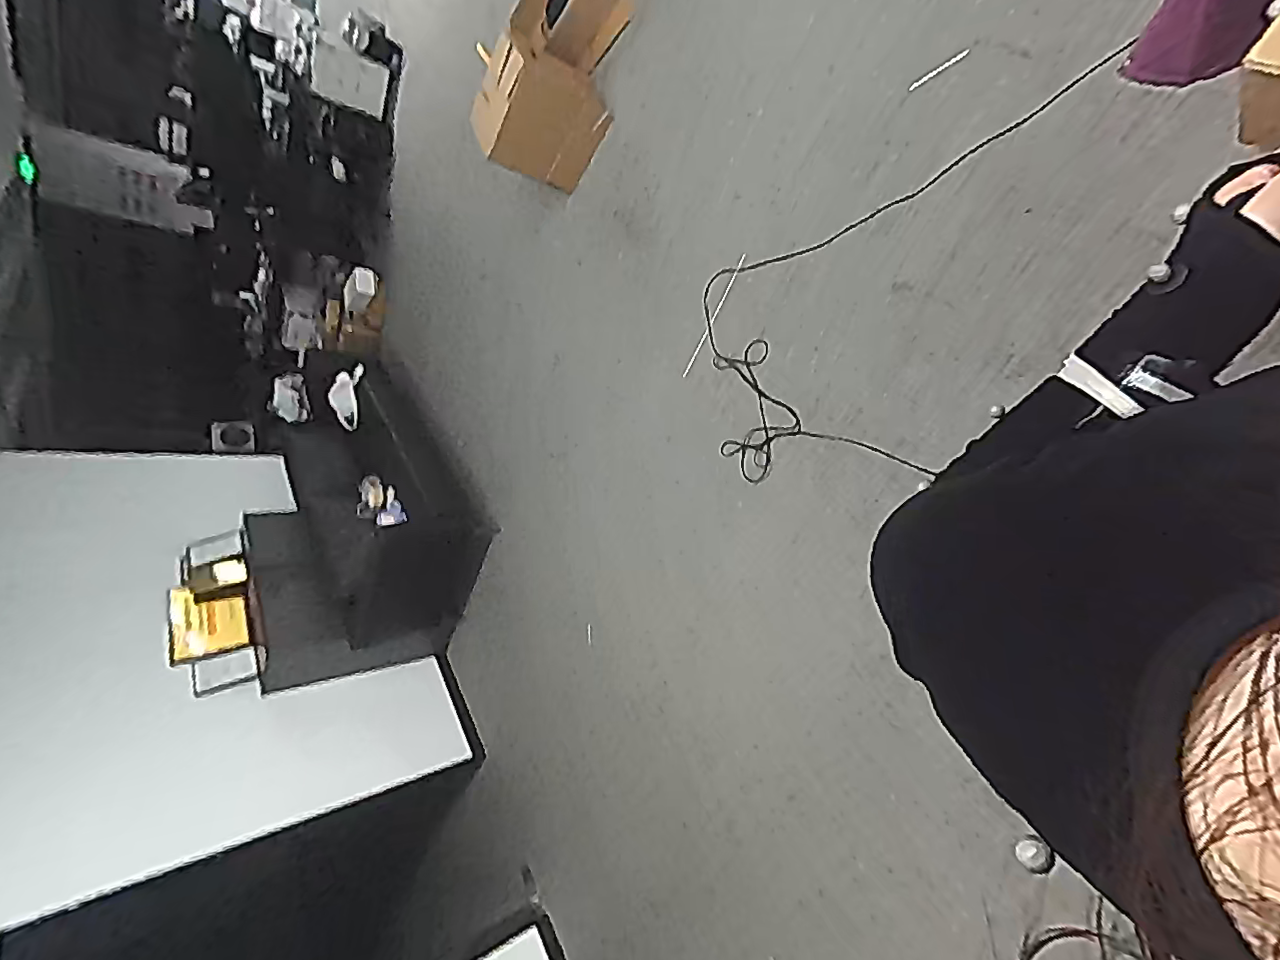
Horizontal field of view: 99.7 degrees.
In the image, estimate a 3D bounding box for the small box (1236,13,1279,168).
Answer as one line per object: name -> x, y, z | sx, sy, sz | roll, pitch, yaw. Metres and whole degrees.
small box -> 0.520, -0.286, 0.320 | 0.168, 0.176, 0.179 | 48, 129, 32
